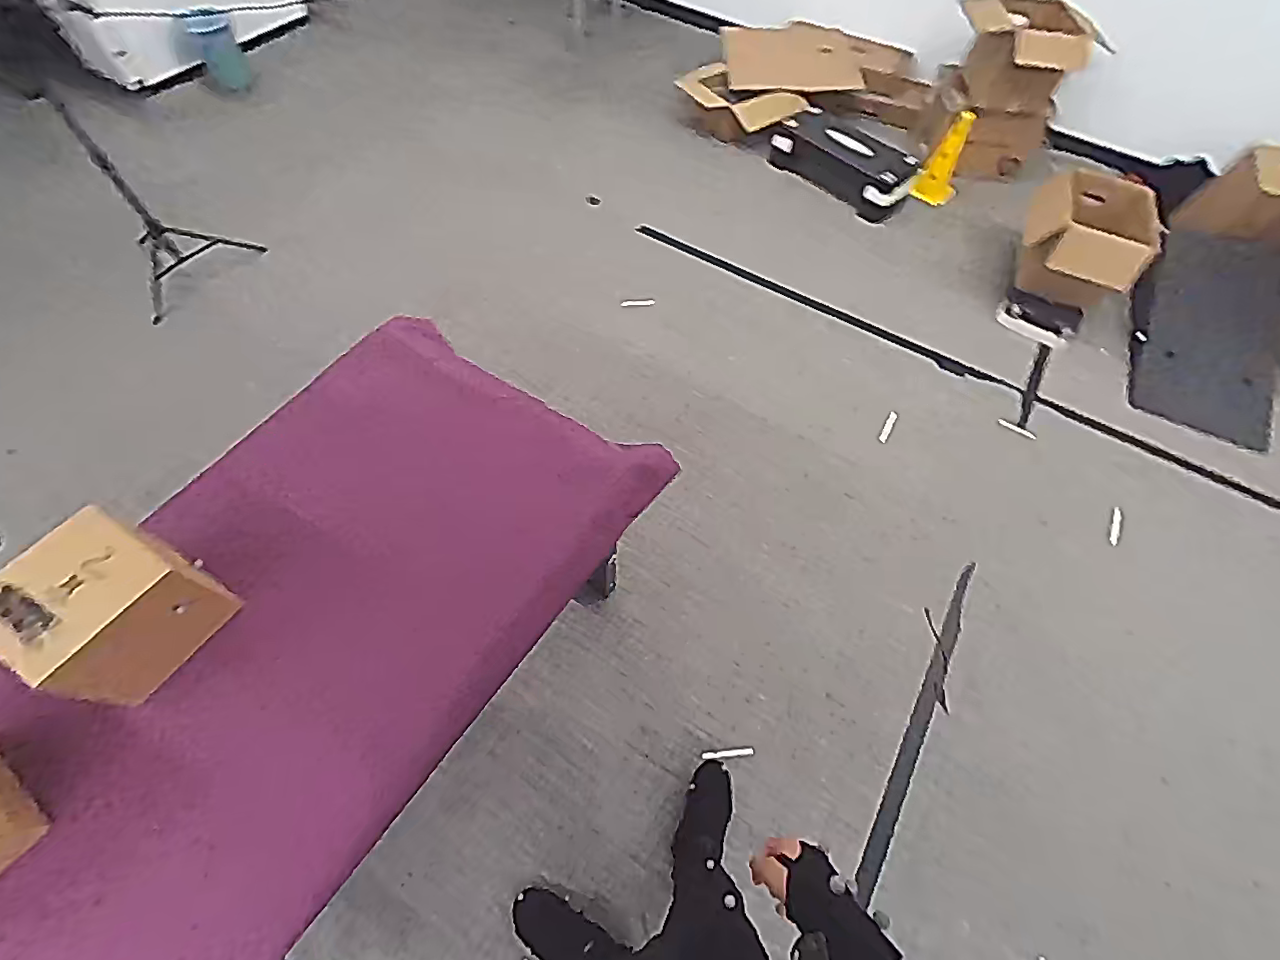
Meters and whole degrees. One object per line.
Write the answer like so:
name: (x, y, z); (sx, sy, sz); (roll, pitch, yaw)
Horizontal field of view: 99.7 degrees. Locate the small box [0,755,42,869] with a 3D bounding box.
small box: (-0.850, 0.406, 0.598); (0.179, 0.176, 0.168); (35, 64, 15)
